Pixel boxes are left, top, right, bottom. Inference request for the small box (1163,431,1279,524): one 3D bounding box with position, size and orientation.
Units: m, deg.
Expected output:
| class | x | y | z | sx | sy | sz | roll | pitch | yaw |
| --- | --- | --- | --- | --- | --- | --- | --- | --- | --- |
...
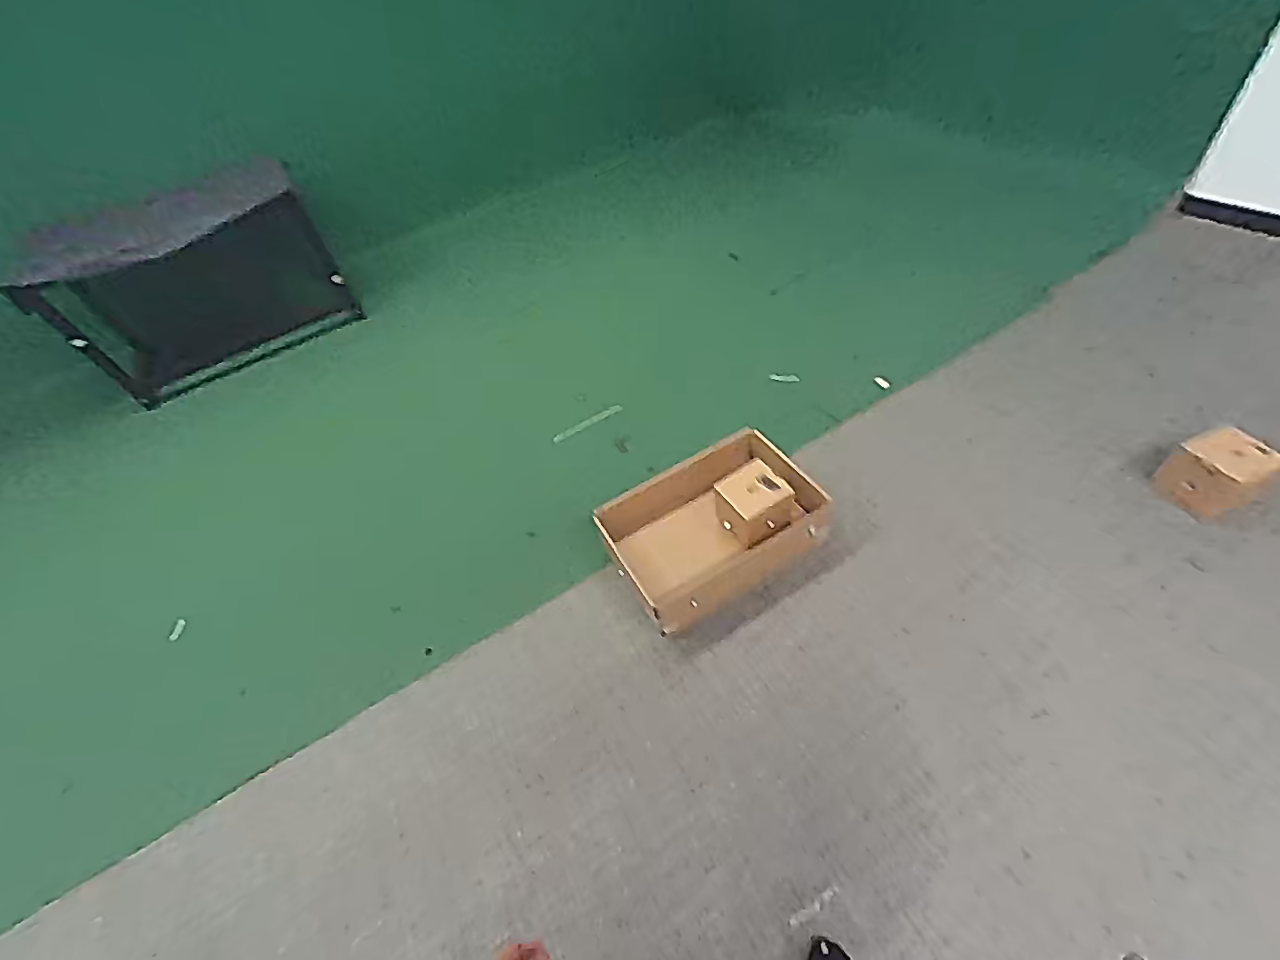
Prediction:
| class | x | y | z | sx | sy | sz | roll | pitch | yaw |
| --- | --- | --- | --- | --- | --- | --- | --- | --- | --- |
| small box | 1.643 | -0.002 | 1.523 | 0.179 | 0.176 | 0.168 | -20 | 48 | -5 |
